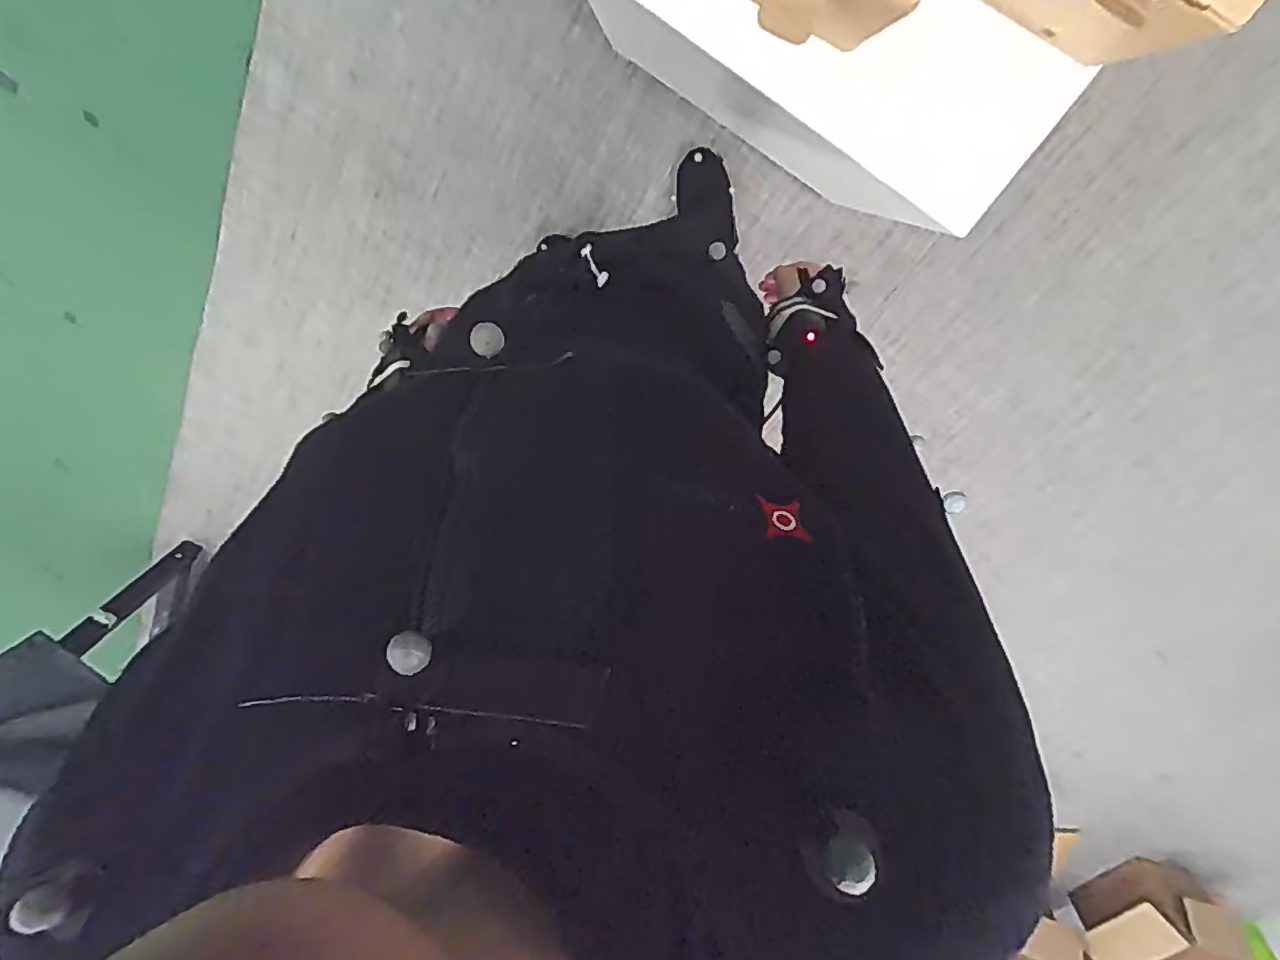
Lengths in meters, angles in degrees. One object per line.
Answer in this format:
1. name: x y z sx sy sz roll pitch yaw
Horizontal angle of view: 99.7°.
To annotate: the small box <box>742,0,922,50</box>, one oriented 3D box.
1. small box: 0.156 -0.469 0.403 0.168 0.176 0.179 20 119 -9
